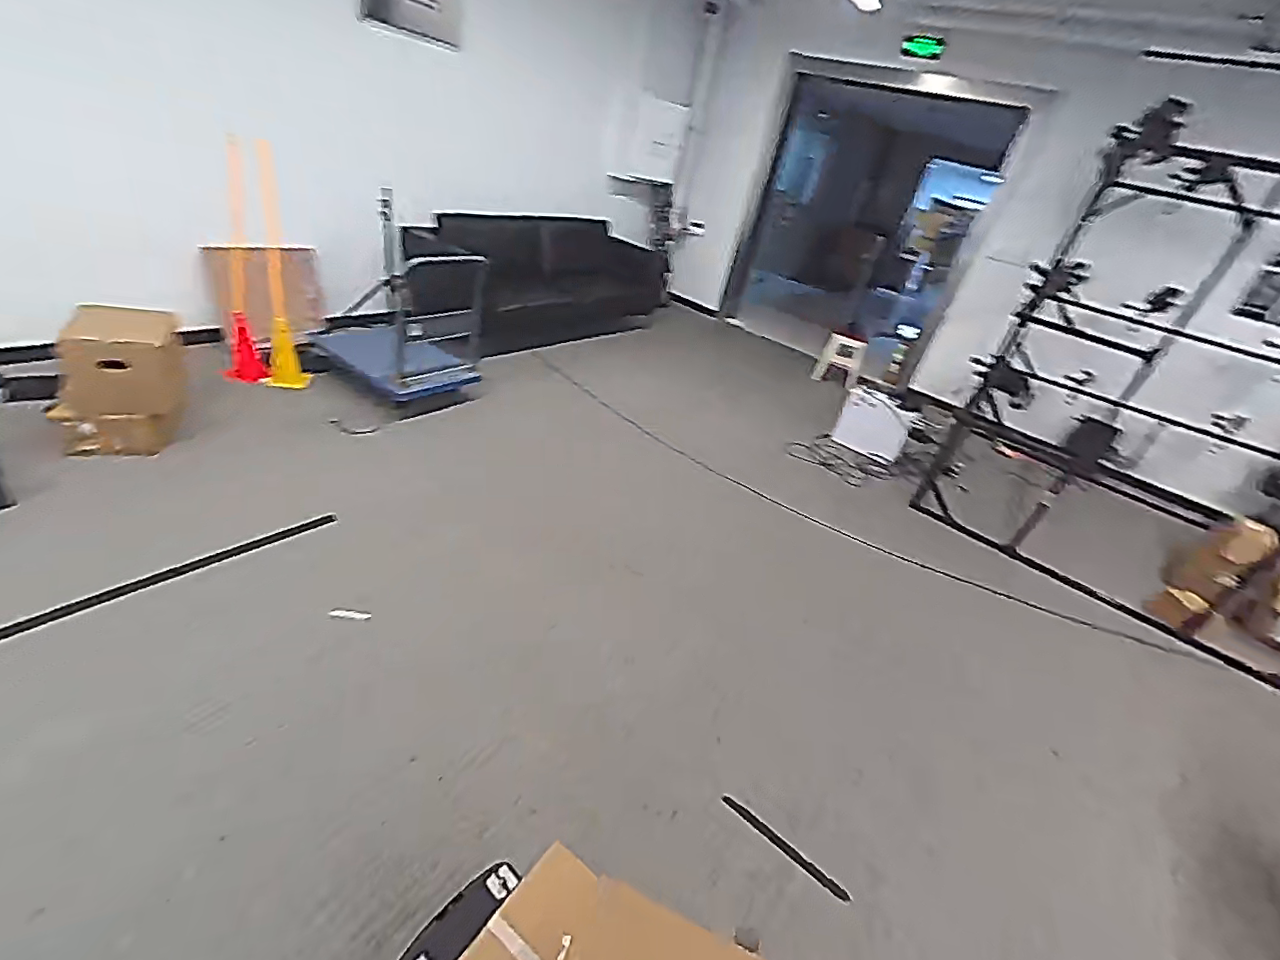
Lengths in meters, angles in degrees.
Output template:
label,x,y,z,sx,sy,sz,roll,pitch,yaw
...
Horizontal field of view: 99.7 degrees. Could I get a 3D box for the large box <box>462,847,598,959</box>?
label,x,y,z,sx,sy,sz,roll,pitch,yaw
large box,-0.104,0.909,0.841,0.408,0.320,0.320,29,33,25

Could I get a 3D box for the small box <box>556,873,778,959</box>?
label,x,y,z,sx,sy,sz,roll,pitch,yaw
small box,0.019,0.356,0.309,0.179,0.176,0.168,22,52,8
